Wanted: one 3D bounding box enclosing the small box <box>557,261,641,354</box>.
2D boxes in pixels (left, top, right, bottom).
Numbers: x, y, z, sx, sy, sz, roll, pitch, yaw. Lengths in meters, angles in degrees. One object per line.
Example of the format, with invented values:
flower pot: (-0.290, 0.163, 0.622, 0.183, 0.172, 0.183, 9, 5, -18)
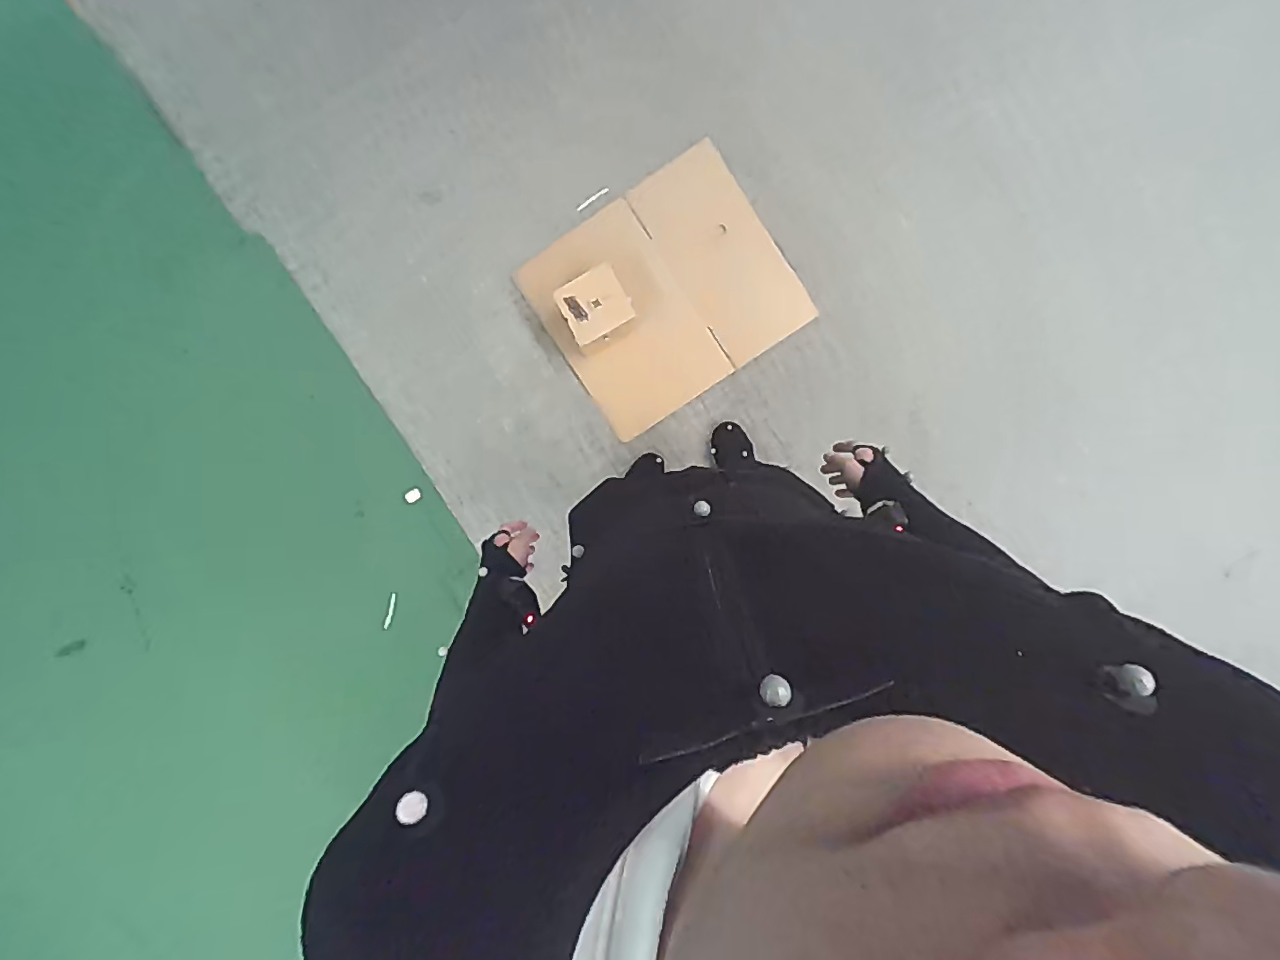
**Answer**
small box: (-0.107, -0.474, 1.517, 0.179, 0.176, 0.168, -28, 93, 3)
